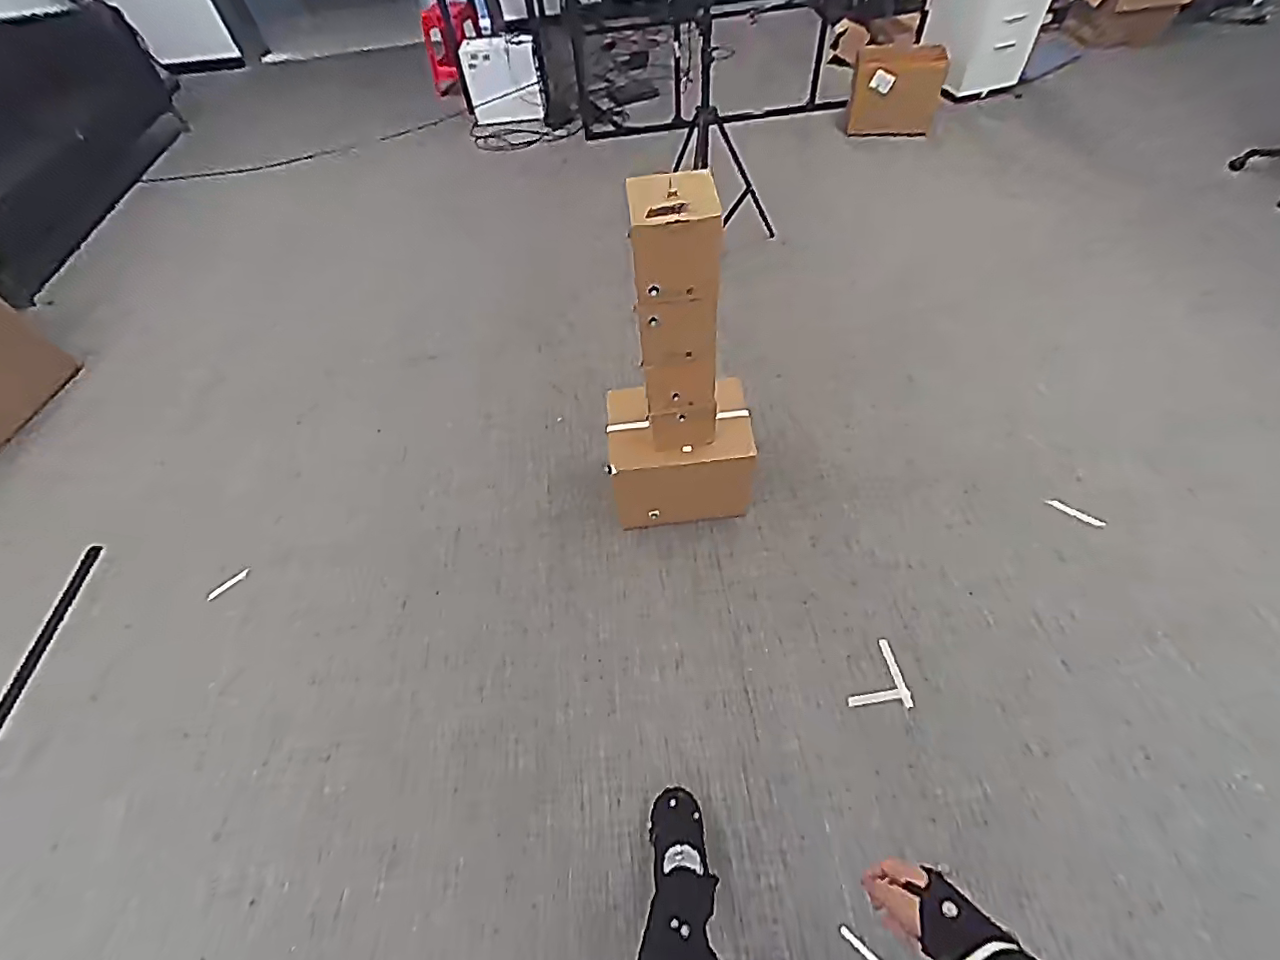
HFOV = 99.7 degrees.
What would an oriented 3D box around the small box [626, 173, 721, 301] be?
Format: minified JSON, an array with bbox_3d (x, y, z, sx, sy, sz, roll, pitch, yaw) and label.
[{"bbox_3d":[0.066,-0.471,1.068,0.168,0.176,0.179,-6,54,1],"label":"small box"}]

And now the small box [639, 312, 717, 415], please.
[{"bbox_3d":[0.090,-0.285,1.337,0.168,0.176,0.179,-8,55,0],"label":"small box"}]

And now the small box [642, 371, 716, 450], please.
[{"bbox_3d":[0.106,-0.198,1.473,0.179,0.176,0.168,-8,55,-1],"label":"small box"}]
